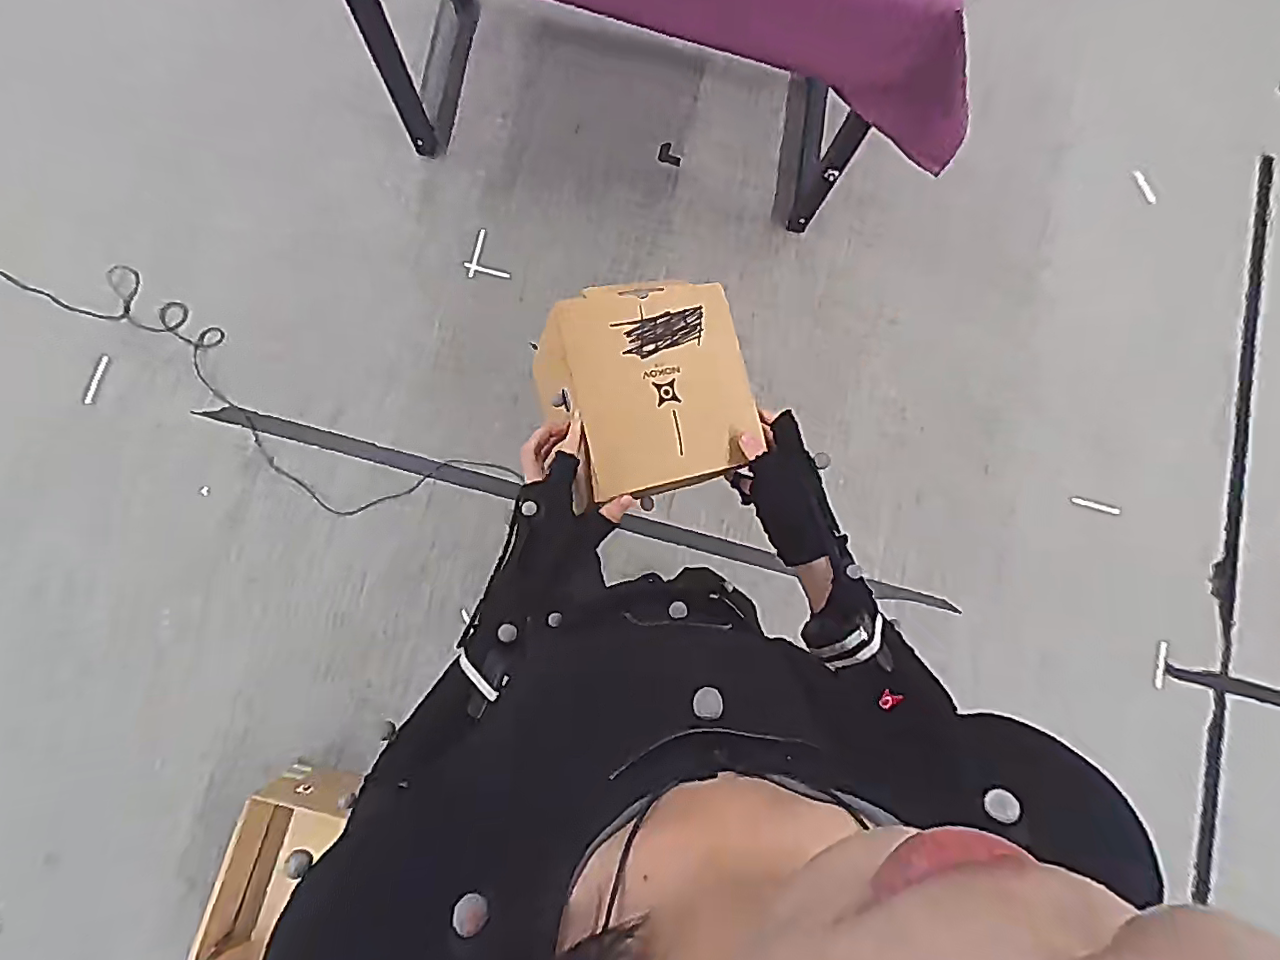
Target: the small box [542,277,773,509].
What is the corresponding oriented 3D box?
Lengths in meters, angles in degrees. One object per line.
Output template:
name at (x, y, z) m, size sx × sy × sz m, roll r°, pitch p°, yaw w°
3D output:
small box at (0.003, -0.079, 0.554) m, size 0.168 × 0.176 × 0.179 m, roll -14°, pitch 85°, yaw -18°
